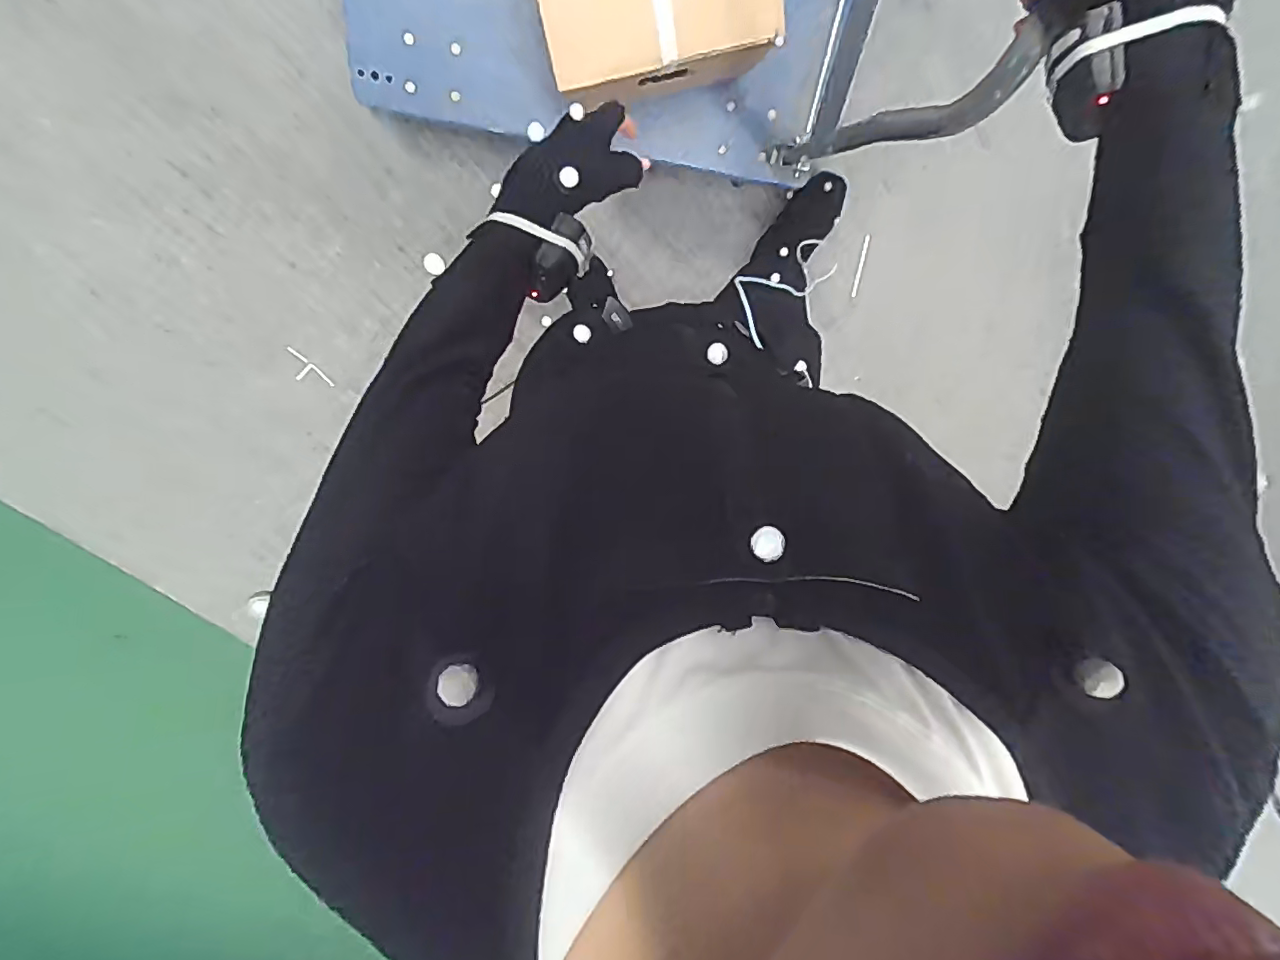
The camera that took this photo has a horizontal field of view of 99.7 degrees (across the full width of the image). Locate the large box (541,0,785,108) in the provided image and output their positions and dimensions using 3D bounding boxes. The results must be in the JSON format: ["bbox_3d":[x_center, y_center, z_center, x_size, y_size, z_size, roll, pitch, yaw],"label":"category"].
[{"bbox_3d":[-0.004,-0.808,0.761,0.320,0.320,0.408,-11,119,4],"label":"large box"}]
